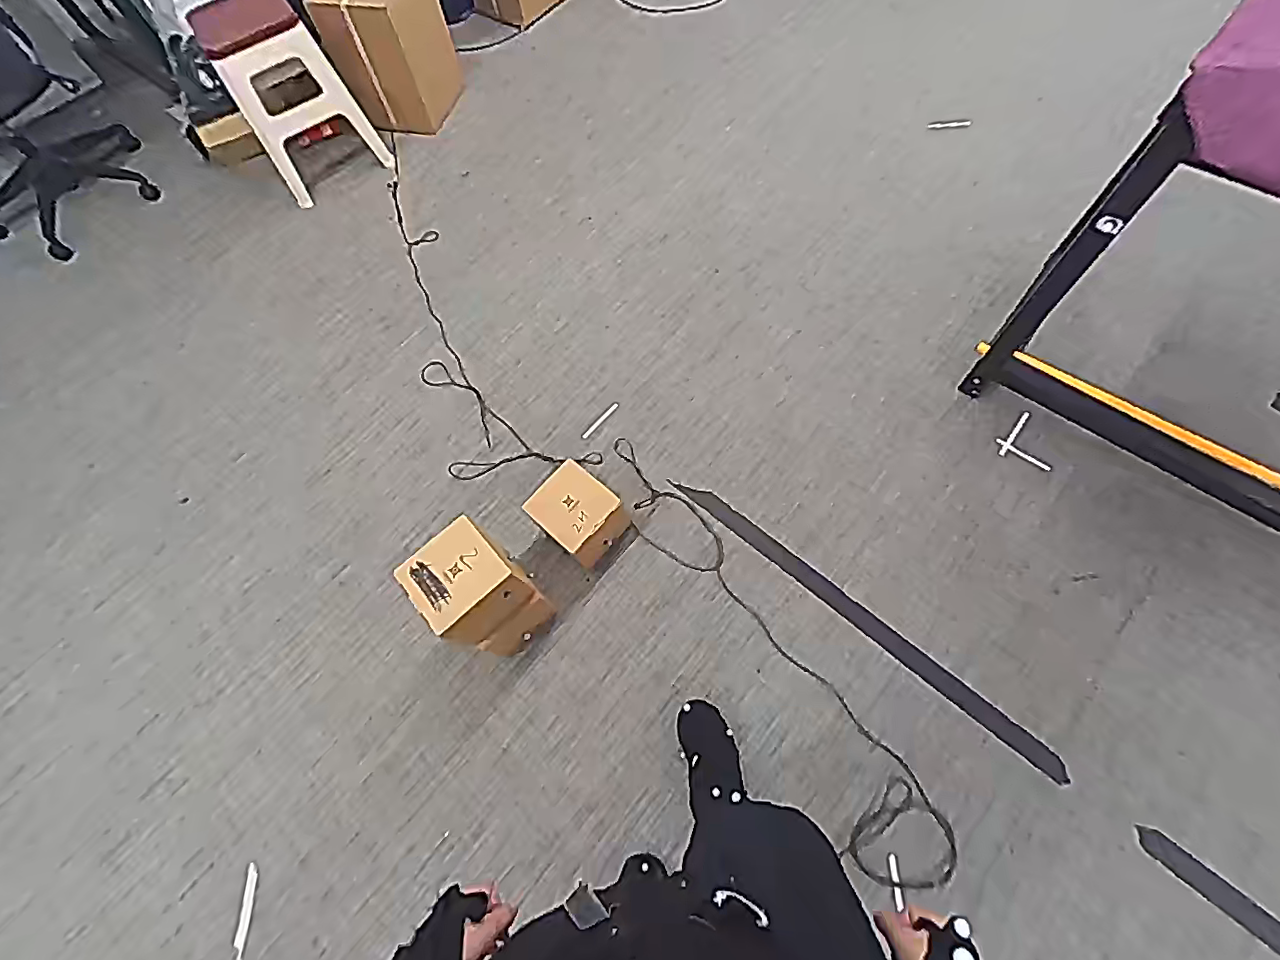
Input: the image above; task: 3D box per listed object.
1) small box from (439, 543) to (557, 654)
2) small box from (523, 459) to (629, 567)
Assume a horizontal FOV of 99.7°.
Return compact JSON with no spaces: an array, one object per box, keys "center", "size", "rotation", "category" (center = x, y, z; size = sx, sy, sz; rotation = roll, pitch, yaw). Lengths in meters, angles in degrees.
[{"center":[-0.318,0.278,1.238],"size":[0.168,0.176,0.179],"rotation":[-41,70,-11],"category":"small box"},{"center":[-0.146,0.087,1.305],"size":[0.179,0.176,0.168],"rotation":[39,77,19],"category":"small box"}]
